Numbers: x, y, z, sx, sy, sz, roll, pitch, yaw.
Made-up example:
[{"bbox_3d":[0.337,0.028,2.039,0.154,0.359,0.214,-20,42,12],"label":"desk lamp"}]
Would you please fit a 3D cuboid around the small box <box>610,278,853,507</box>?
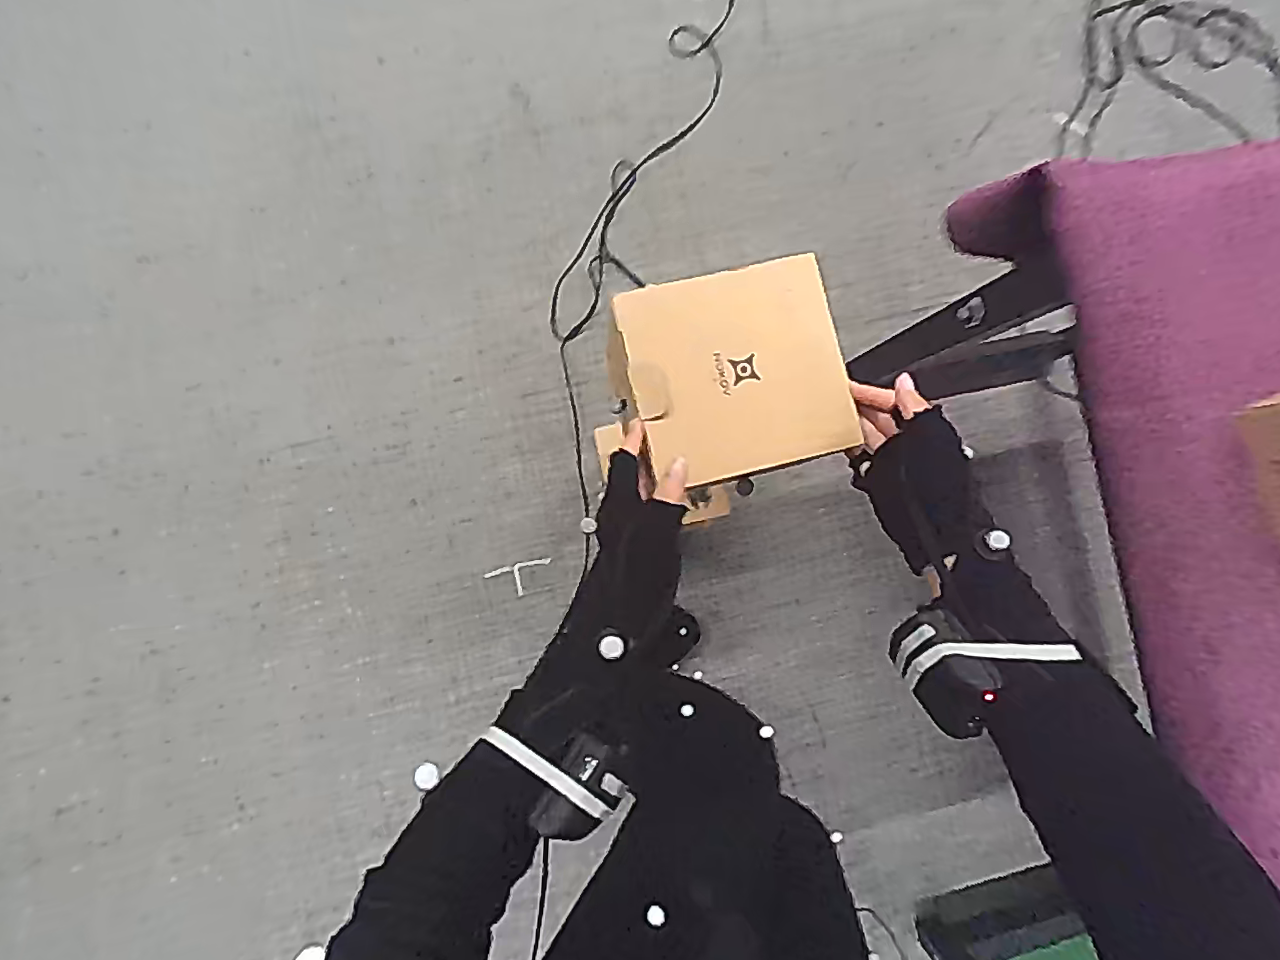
[{"bbox_3d":[0.073,-0.072,0.529,0.179,0.176,0.168,-13,87,-5],"label":"small box"}]
